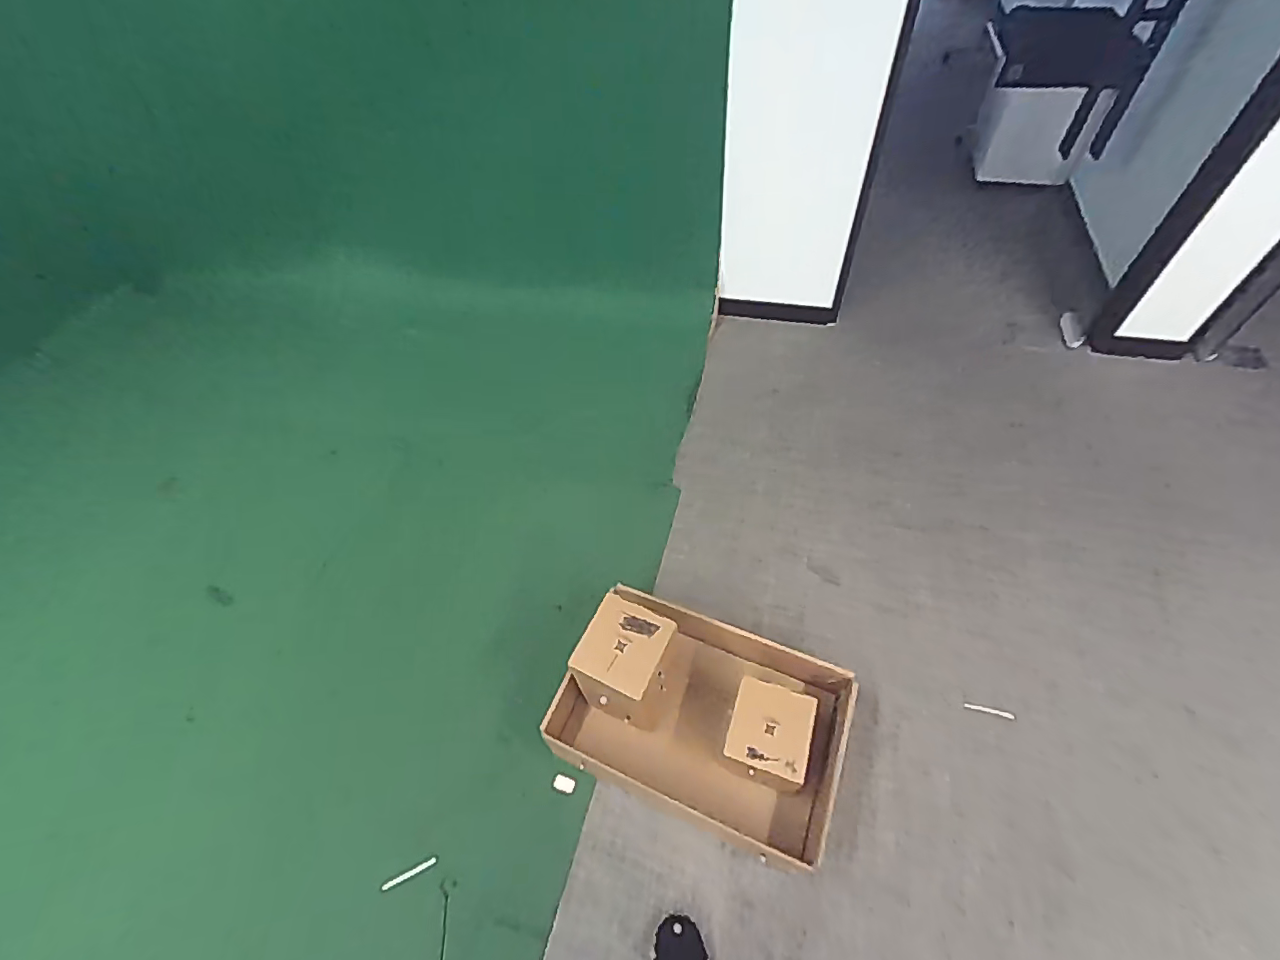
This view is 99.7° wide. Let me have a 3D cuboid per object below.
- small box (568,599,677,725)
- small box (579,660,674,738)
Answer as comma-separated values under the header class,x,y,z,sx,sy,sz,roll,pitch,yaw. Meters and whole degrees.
class,x,y,z,sx,sy,sz,roll,pitch,yaw
small box,-0.030,0.391,1.153,0.168,0.176,0.179,20,59,18
small box,-0.023,0.485,1.287,0.168,0.176,0.179,20,57,17
